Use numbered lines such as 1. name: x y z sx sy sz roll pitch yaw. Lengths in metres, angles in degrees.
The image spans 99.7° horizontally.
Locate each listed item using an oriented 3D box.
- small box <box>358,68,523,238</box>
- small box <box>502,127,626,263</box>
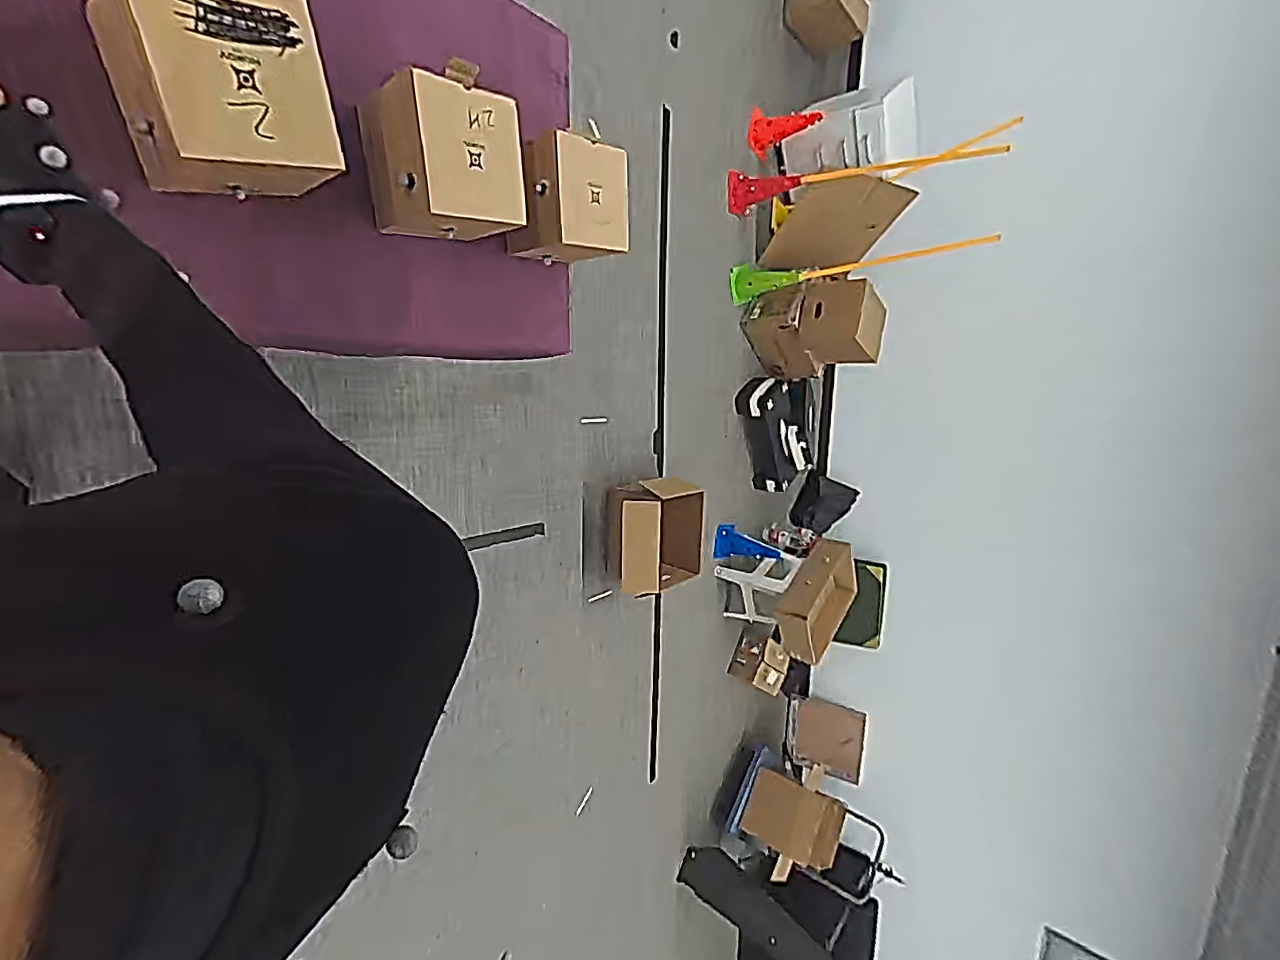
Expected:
1. small box: -0.302 -0.477 0.826 0.168 0.176 0.179 -20 113 -46
2. small box: -0.146 -0.514 1.003 0.168 0.176 0.179 -17 110 -45
